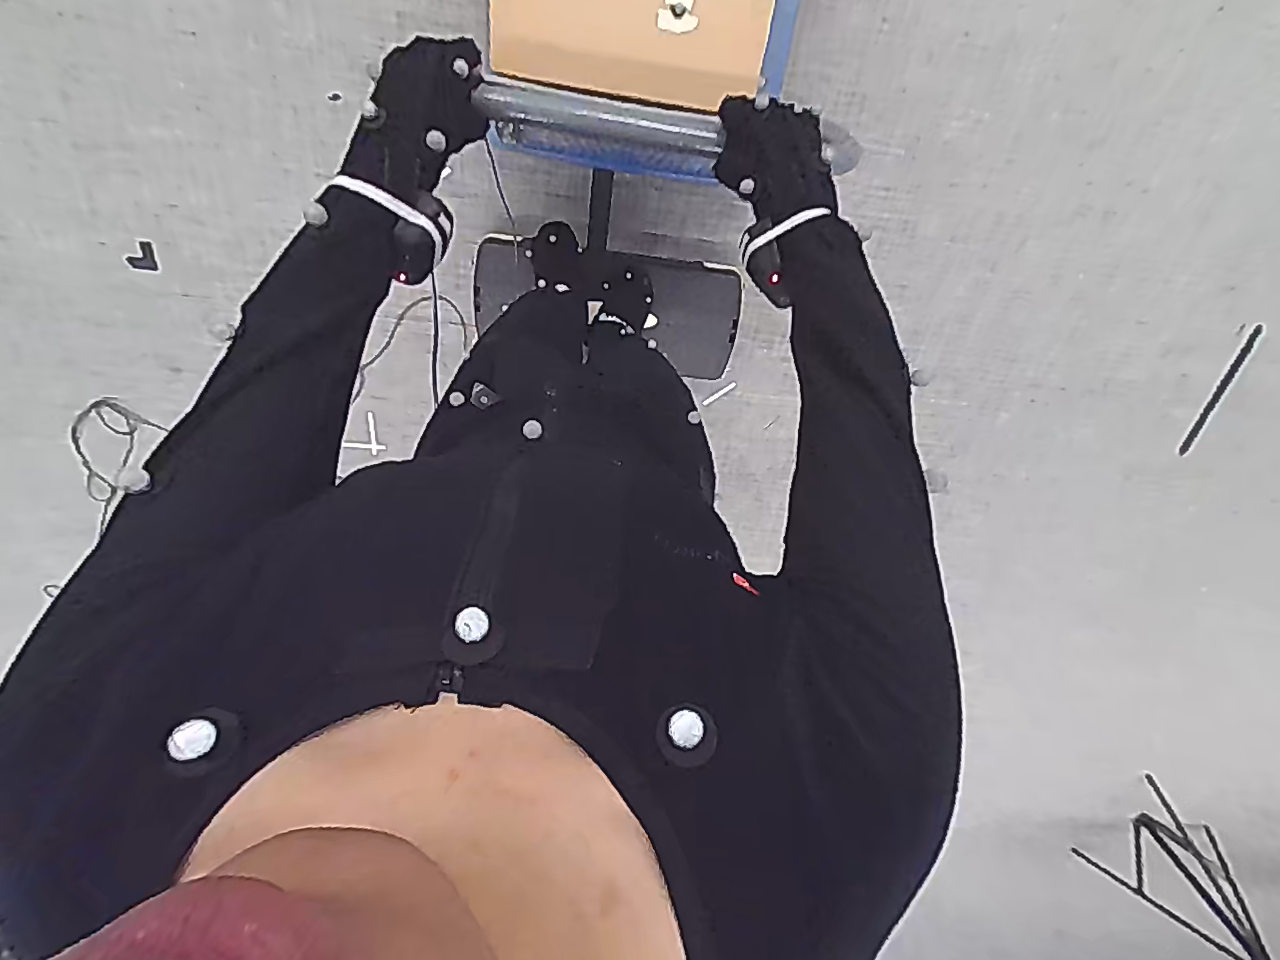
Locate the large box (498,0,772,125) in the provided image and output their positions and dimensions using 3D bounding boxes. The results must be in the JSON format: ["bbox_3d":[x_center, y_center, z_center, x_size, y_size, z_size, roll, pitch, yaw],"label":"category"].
[{"bbox_3d":[-0.008,-0.811,0.895,0.408,0.320,0.320,6,119,-6],"label":"large box"}]
